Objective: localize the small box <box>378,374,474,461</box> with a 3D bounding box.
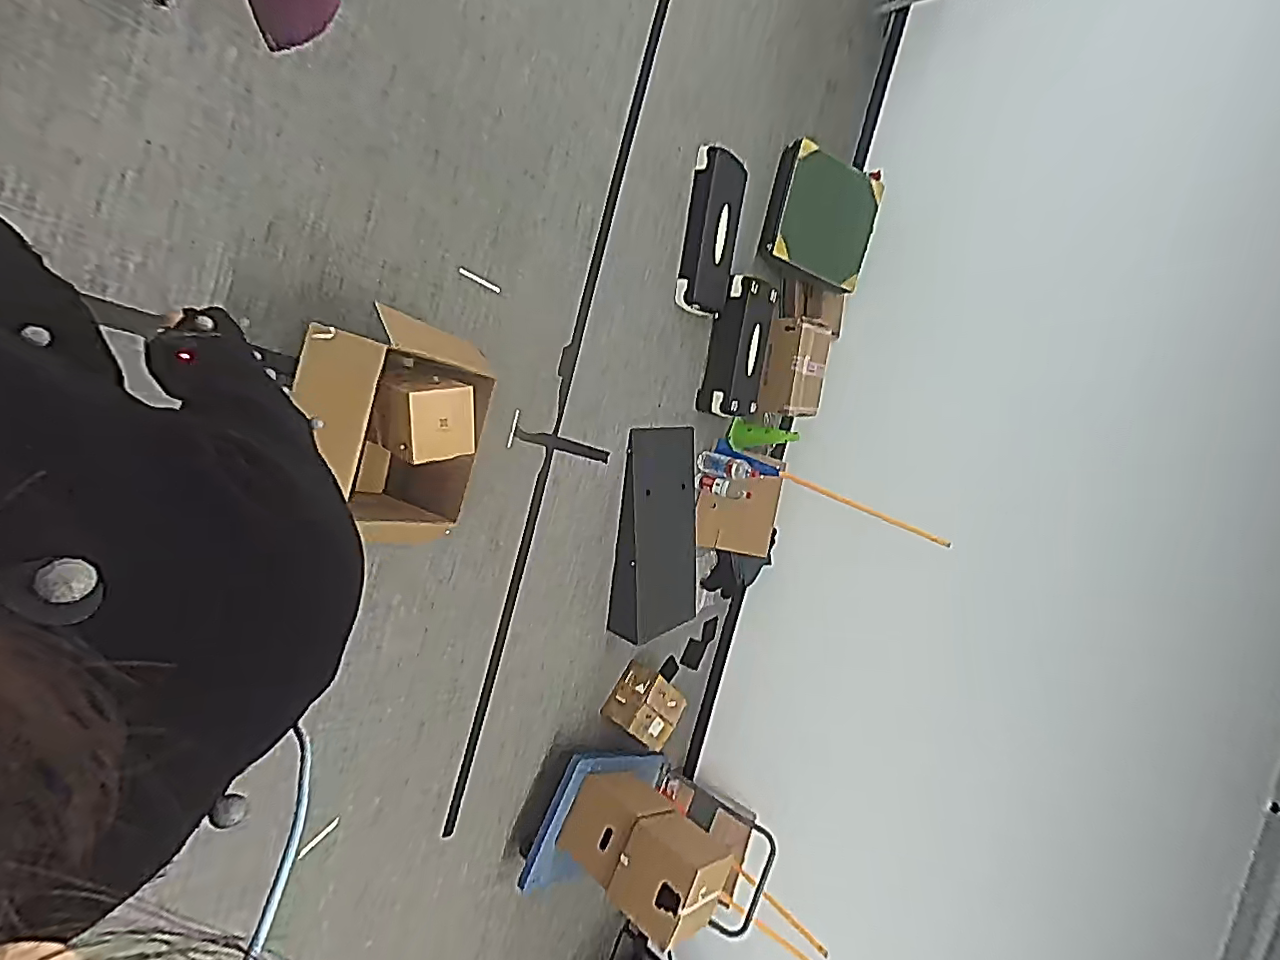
[{"bbox_3d":[-0.533,-0.165,1.346,0.168,0.176,0.179,-18,121,-45],"label":"small box"}]
